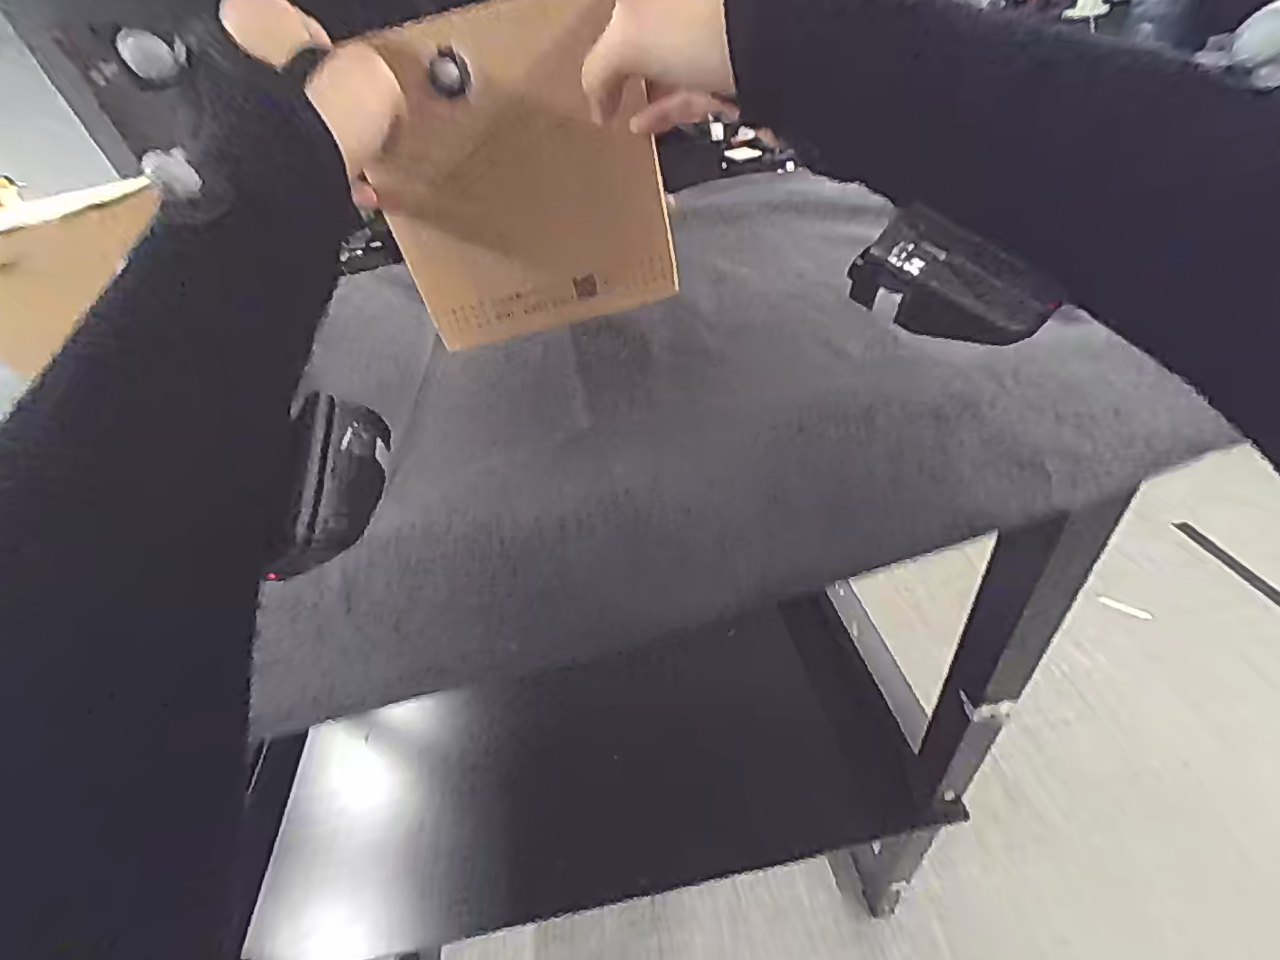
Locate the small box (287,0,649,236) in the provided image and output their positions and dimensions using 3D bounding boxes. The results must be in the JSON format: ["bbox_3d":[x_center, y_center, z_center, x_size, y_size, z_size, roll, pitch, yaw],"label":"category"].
[{"bbox_3d":[-0.096,-0.269,0.337,0.168,0.176,0.179,-13,38,2],"label":"small box"}]
